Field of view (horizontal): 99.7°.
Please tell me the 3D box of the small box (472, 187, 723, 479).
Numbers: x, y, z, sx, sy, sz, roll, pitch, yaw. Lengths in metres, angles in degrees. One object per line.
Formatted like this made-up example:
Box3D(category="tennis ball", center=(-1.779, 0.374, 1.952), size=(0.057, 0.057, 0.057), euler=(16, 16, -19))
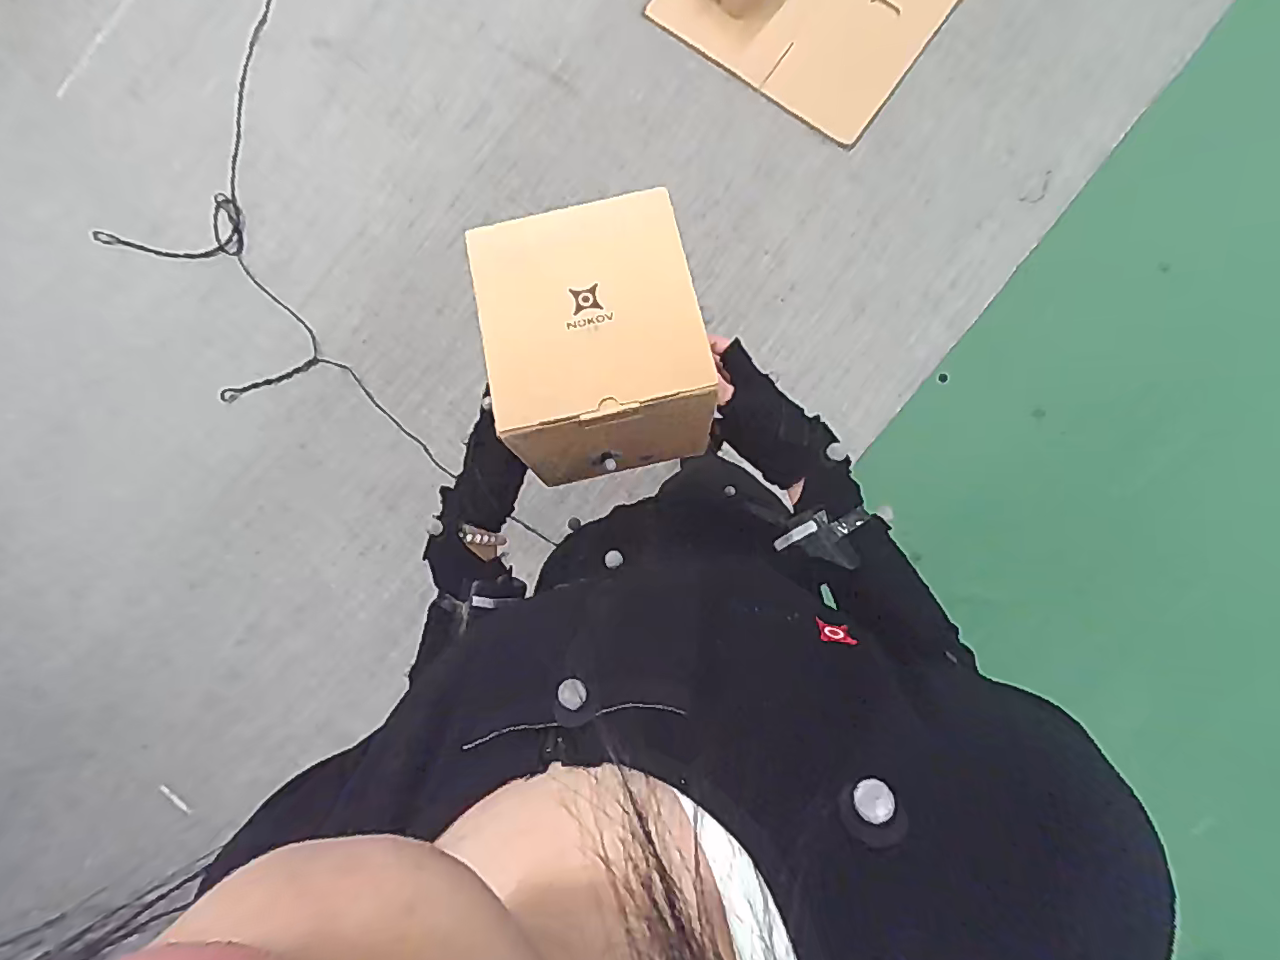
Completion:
Box3D(category="small box", center=(-0.034, -0.116, 0.485), size=(0.168, 0.176, 0.179), euler=(-13, 78, -1))
